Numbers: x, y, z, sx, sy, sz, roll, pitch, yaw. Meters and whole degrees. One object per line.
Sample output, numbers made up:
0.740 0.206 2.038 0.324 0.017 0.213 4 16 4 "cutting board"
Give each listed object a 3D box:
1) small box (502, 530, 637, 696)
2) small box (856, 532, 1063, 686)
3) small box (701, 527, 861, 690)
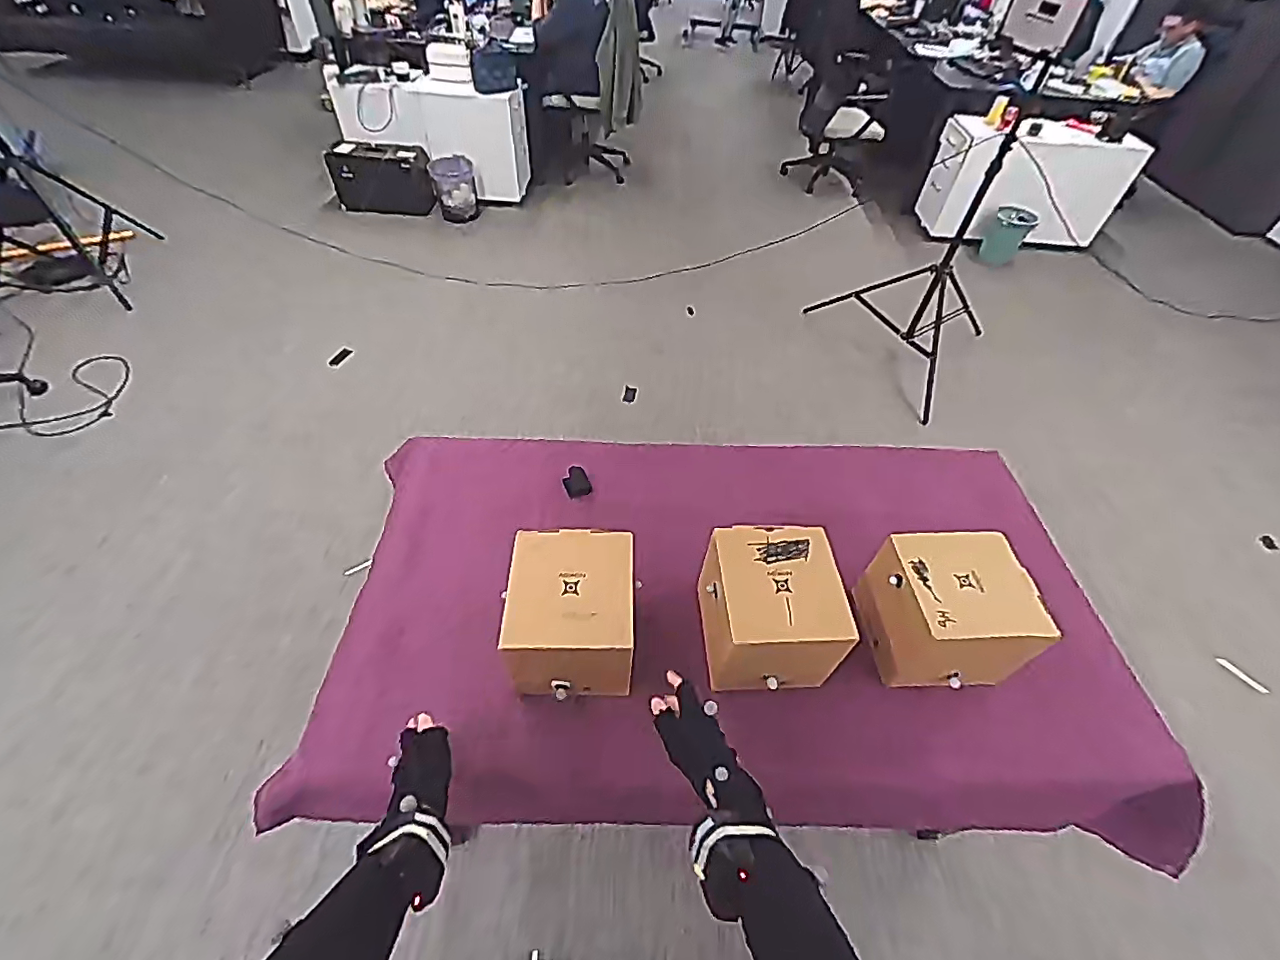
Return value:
-0.090 0.189 0.767 0.168 0.176 0.179 0 50 -2 "small box"
0.452 0.193 0.799 0.179 0.176 0.168 0 48 -4 "small box"
0.188 0.187 0.786 0.168 0.176 0.179 -1 49 -4 "small box"
